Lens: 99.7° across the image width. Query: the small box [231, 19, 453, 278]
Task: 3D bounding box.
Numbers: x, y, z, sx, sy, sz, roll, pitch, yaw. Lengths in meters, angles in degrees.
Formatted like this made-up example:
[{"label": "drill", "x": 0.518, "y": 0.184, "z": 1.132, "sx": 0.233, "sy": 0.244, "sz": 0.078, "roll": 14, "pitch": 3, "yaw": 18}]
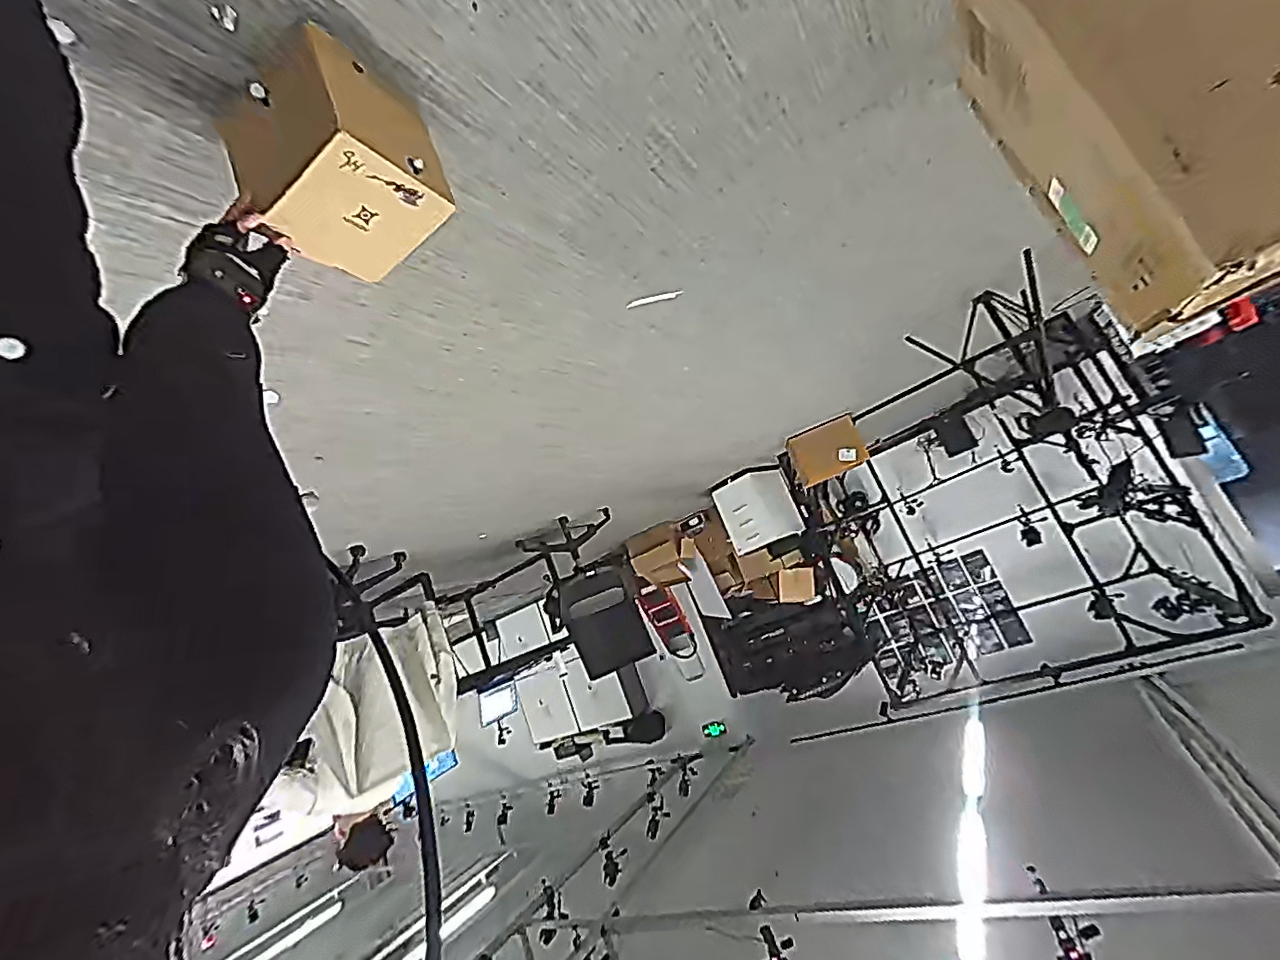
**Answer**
[{"label": "small box", "x": -0.371, "y": -0.396, "z": 0.671, "sx": 0.179, "sy": 0.176, "sz": 0.168, "roll": -27, "pitch": 167, "yaw": 22}]
